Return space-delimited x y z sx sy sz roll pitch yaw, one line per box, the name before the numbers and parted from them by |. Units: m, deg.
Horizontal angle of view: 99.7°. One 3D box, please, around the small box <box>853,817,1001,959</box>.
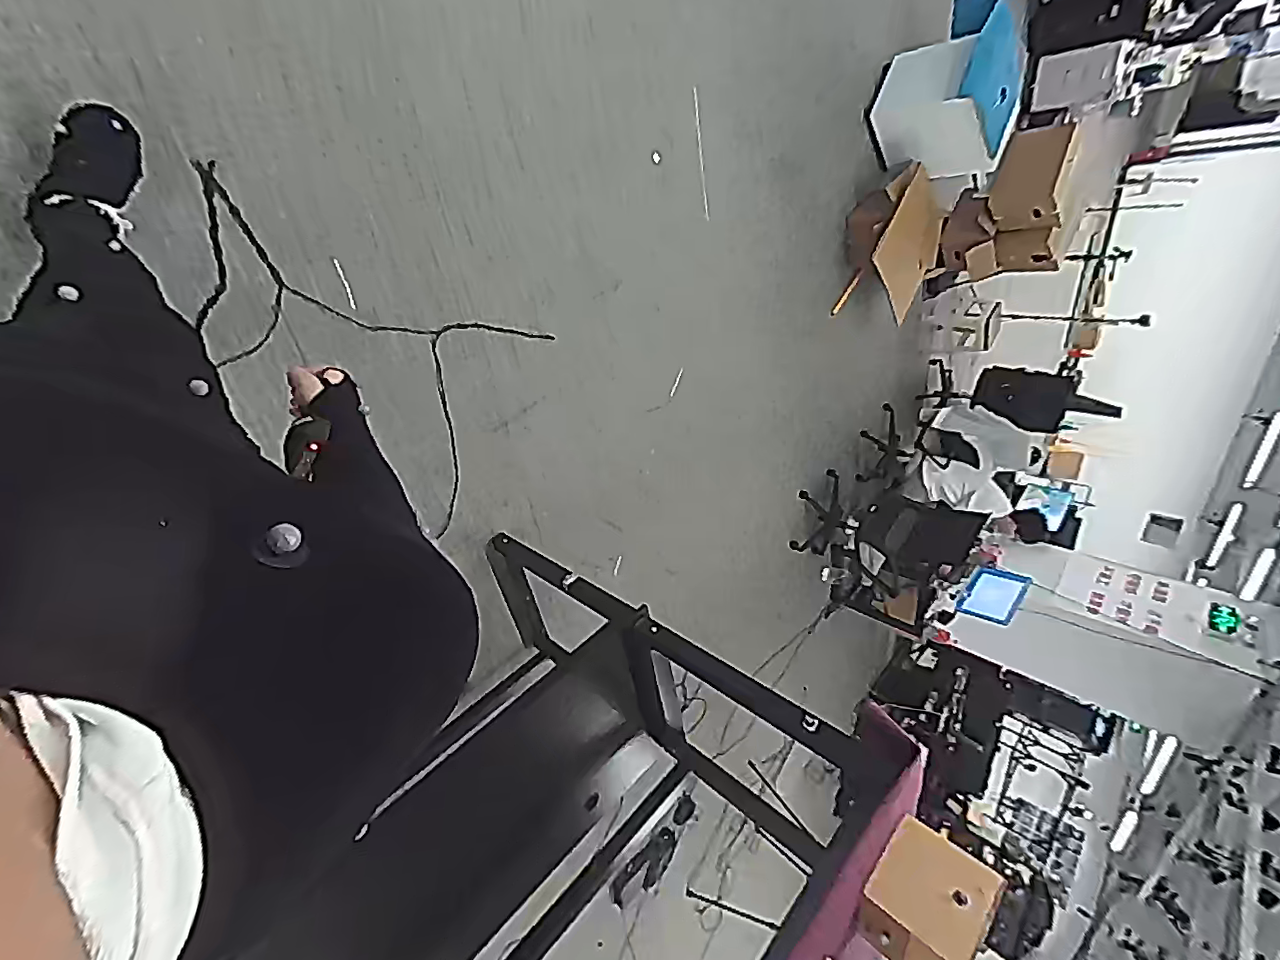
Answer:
small box | 0.497 0.747 0.949 0.179 0.176 0.168 -33 127 -33
